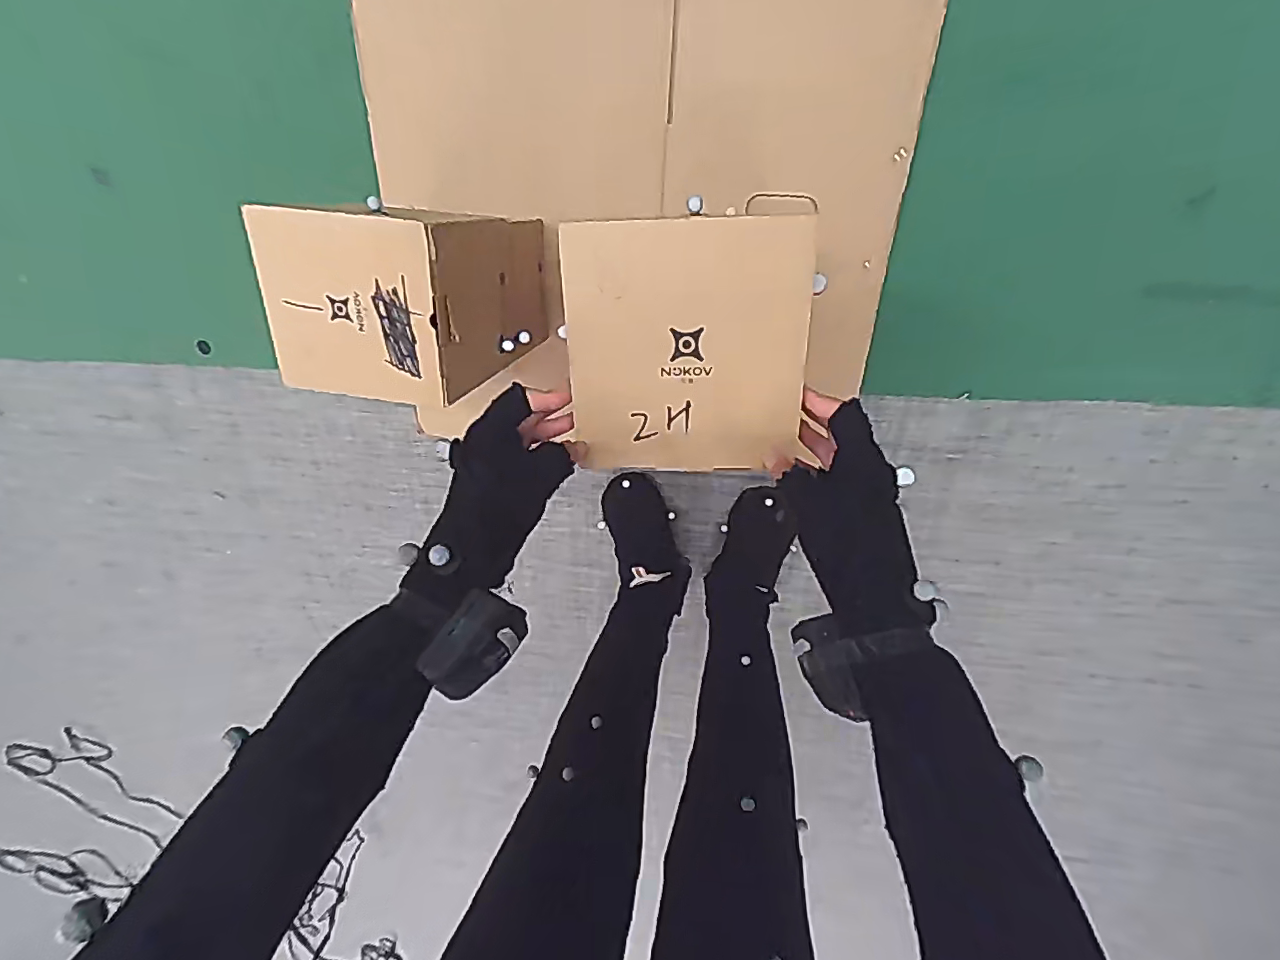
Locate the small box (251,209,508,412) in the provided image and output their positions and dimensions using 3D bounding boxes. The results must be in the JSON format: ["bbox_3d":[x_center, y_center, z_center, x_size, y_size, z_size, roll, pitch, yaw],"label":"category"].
[{"bbox_3d":[-0.246,-0.185,0.565,0.179,0.176,0.168,9,117,7],"label":"small box"}]

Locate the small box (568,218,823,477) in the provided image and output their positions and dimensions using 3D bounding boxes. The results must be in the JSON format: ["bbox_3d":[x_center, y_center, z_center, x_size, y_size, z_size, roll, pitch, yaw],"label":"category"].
[{"bbox_3d":[0.041,-0.116,0.448,0.168,0.176,0.179,1,115,5],"label":"small box"}]
